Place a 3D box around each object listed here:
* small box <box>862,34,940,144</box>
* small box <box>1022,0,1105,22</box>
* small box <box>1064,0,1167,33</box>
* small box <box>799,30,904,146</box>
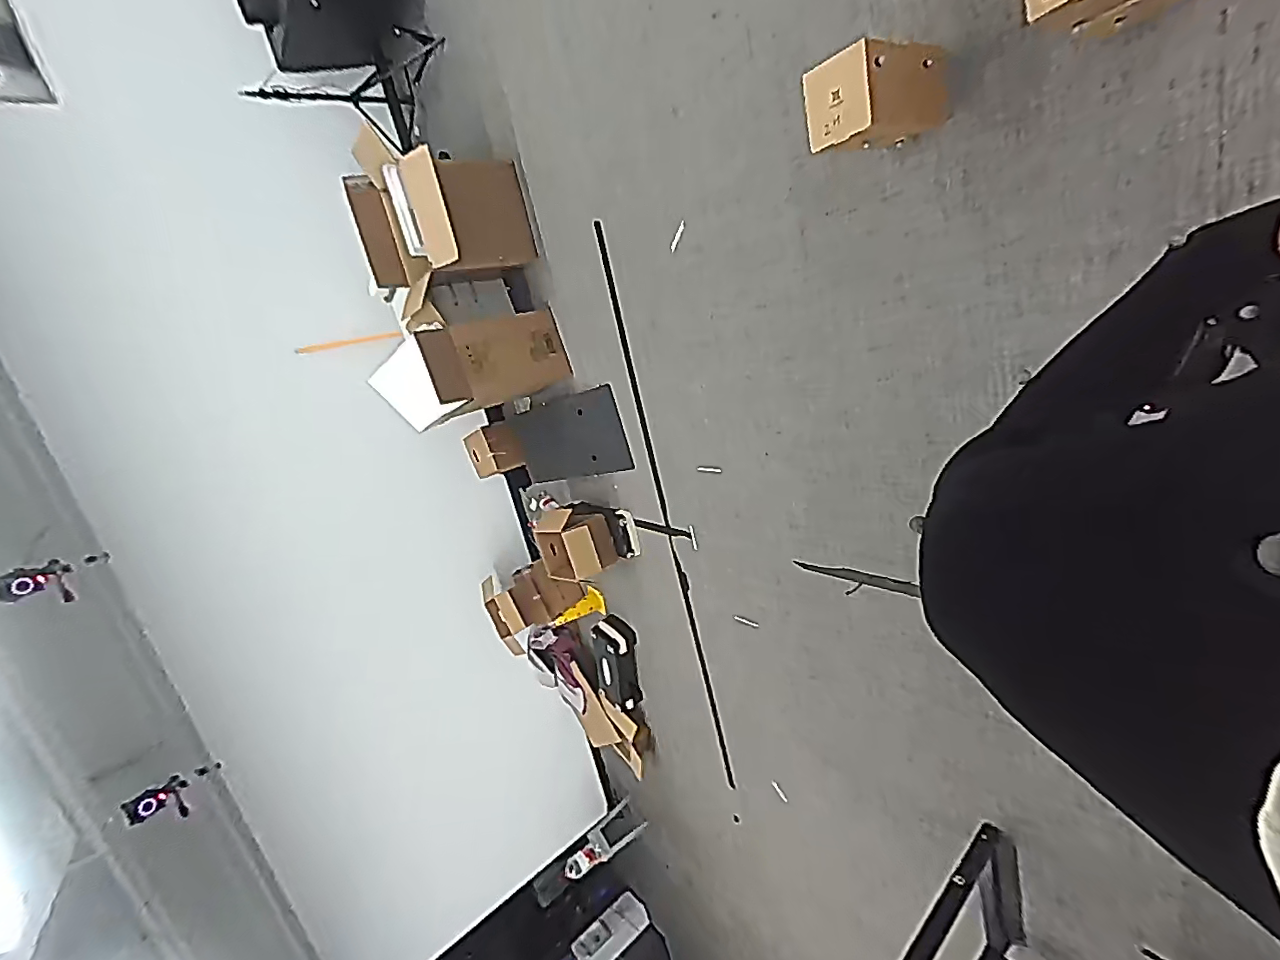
[{"bbox_3d":[0.635,-0.973,1.364,0.168,0.176,0.179,11,118,53],"label":"small box"},{"bbox_3d":[0.766,-0.917,0.911,0.168,0.176,0.179,3,110,54],"label":"small box"},{"bbox_3d":[0.901,-0.965,0.993,0.168,0.176,0.179,3,111,54],"label":"small box"},{"bbox_3d":[0.504,-0.915,1.282,0.168,0.176,0.179,11,119,53],"label":"small box"}]
